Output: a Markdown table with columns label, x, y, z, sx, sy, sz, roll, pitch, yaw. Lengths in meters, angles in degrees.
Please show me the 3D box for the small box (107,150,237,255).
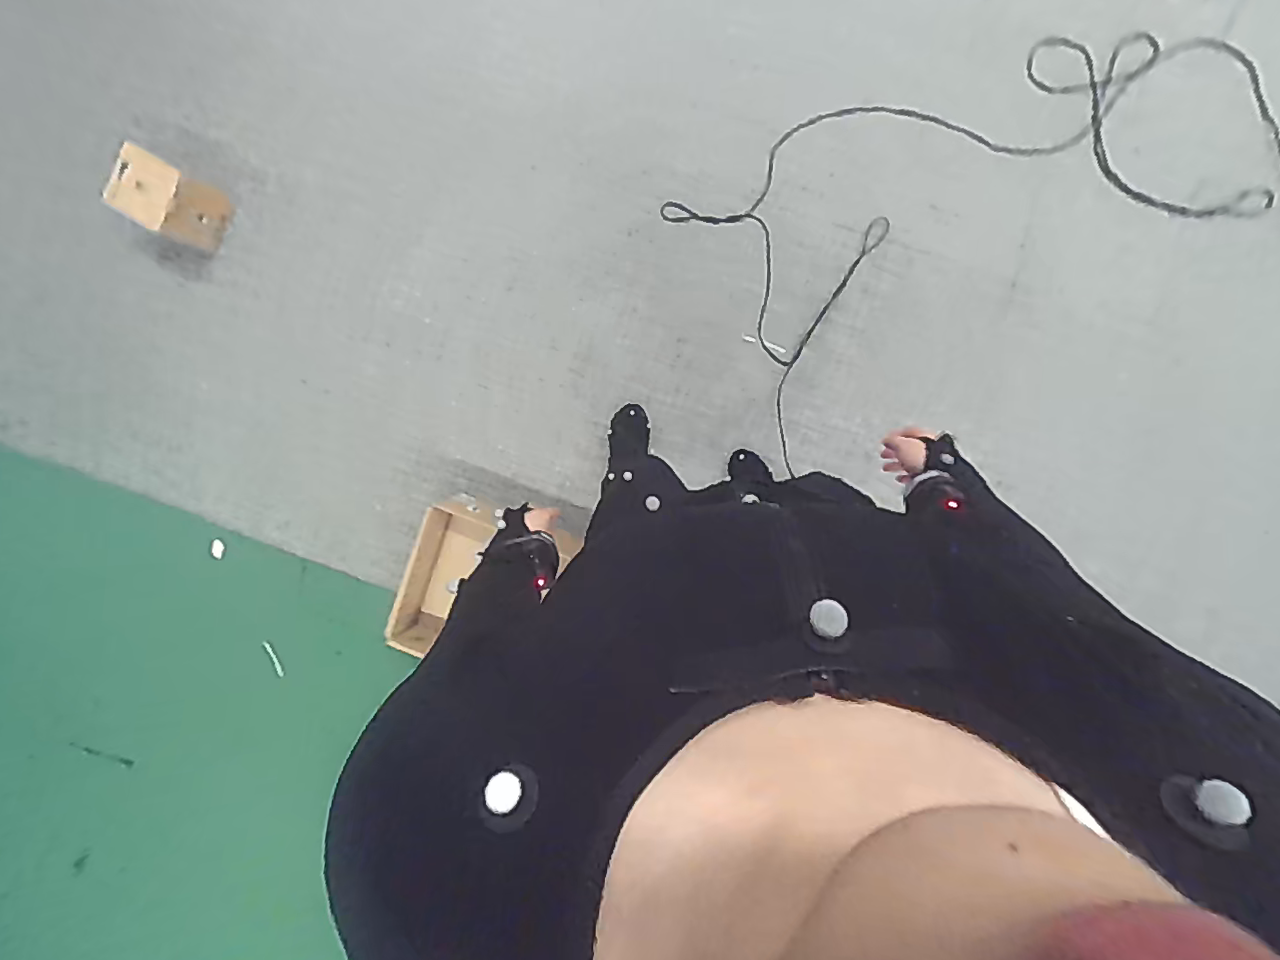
| label | x | y | z | sx | sy | sz | roll | pitch | yaw |
| --- | --- | --- | --- | --- | --- | --- | --- | --- | --- |
| small box | -1.236 | -0.725 | 1.441 | 0.179 | 0.176 | 0.168 | 31 | 98 | 1 |
